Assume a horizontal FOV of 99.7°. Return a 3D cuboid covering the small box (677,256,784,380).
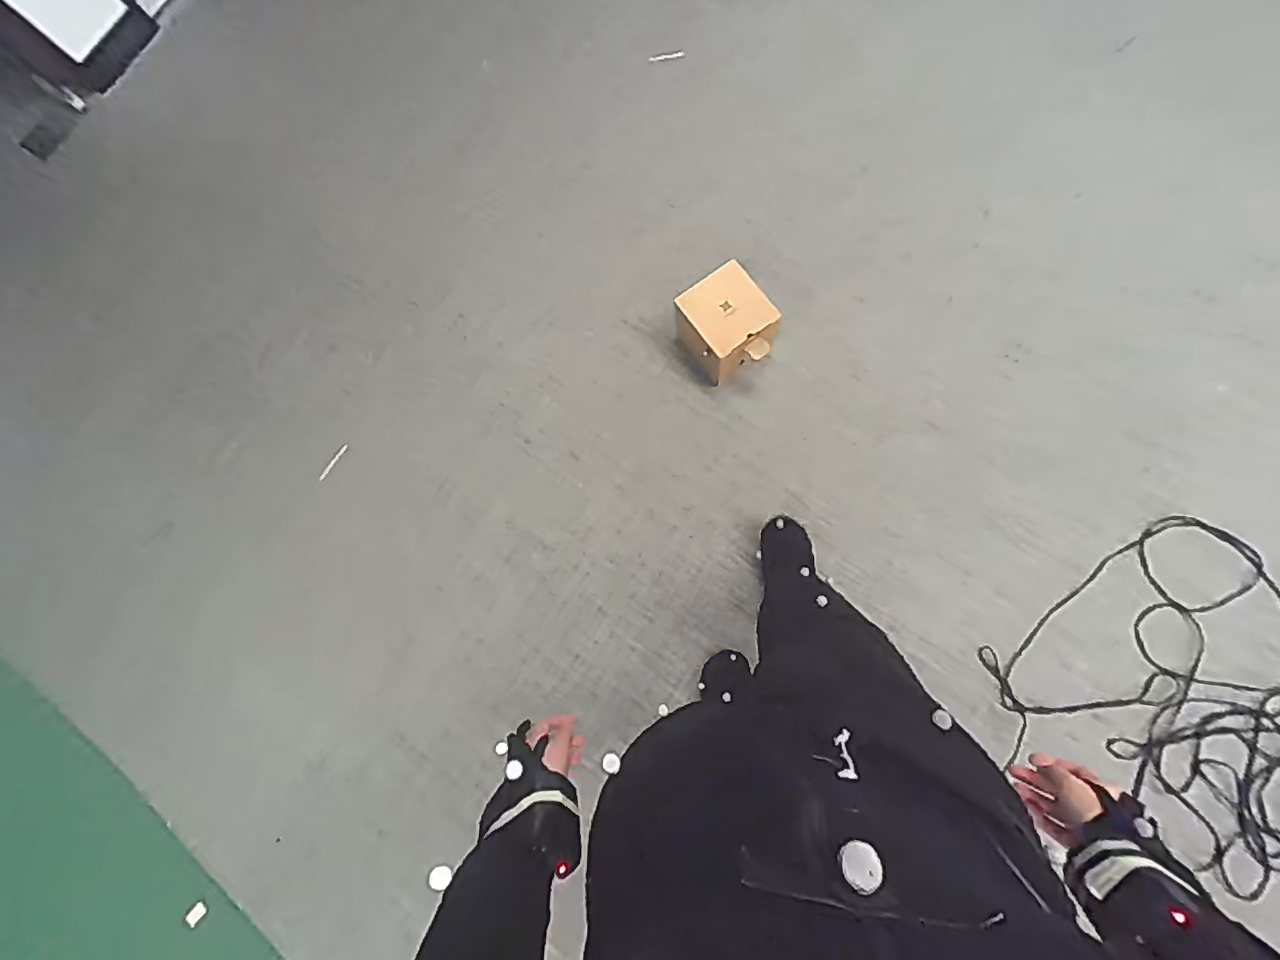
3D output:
[{"bbox_3d":[0.199,-0.360,1.233,0.168,0.176,0.179,-35,78,-1],"label":"small box"}]
